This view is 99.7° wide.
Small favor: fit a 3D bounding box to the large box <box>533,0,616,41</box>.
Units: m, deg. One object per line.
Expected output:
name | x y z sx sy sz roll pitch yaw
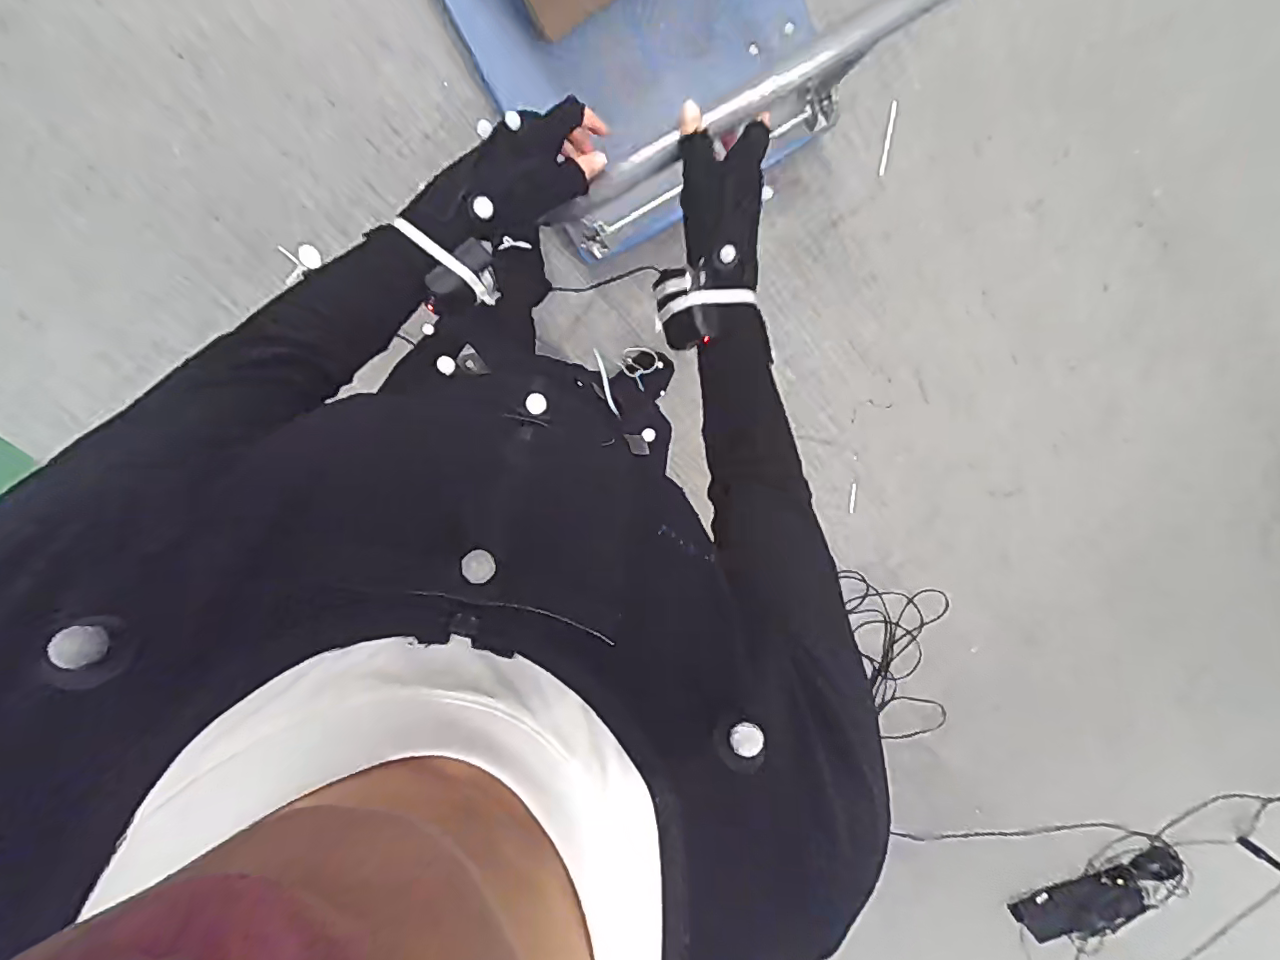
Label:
large box | -0.061 -0.958 0.772 0.408 0.320 0.320 -28 109 13
